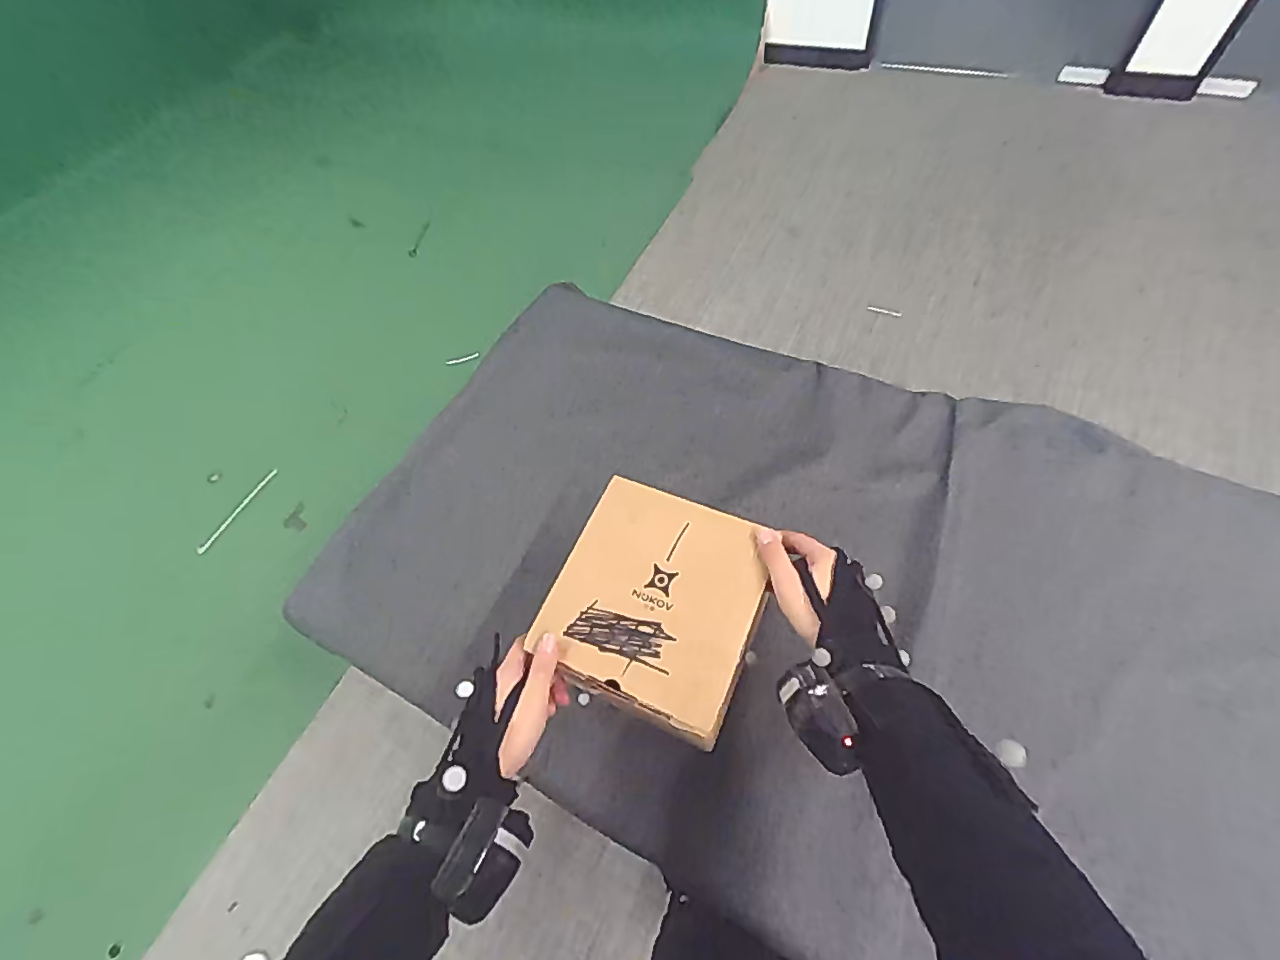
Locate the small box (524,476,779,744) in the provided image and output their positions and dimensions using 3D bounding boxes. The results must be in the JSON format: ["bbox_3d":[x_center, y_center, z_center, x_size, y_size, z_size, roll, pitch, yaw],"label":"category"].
[{"bbox_3d":[0.022,0.131,0.518,0.168,0.176,0.179,20,64,17],"label":"small box"}]
